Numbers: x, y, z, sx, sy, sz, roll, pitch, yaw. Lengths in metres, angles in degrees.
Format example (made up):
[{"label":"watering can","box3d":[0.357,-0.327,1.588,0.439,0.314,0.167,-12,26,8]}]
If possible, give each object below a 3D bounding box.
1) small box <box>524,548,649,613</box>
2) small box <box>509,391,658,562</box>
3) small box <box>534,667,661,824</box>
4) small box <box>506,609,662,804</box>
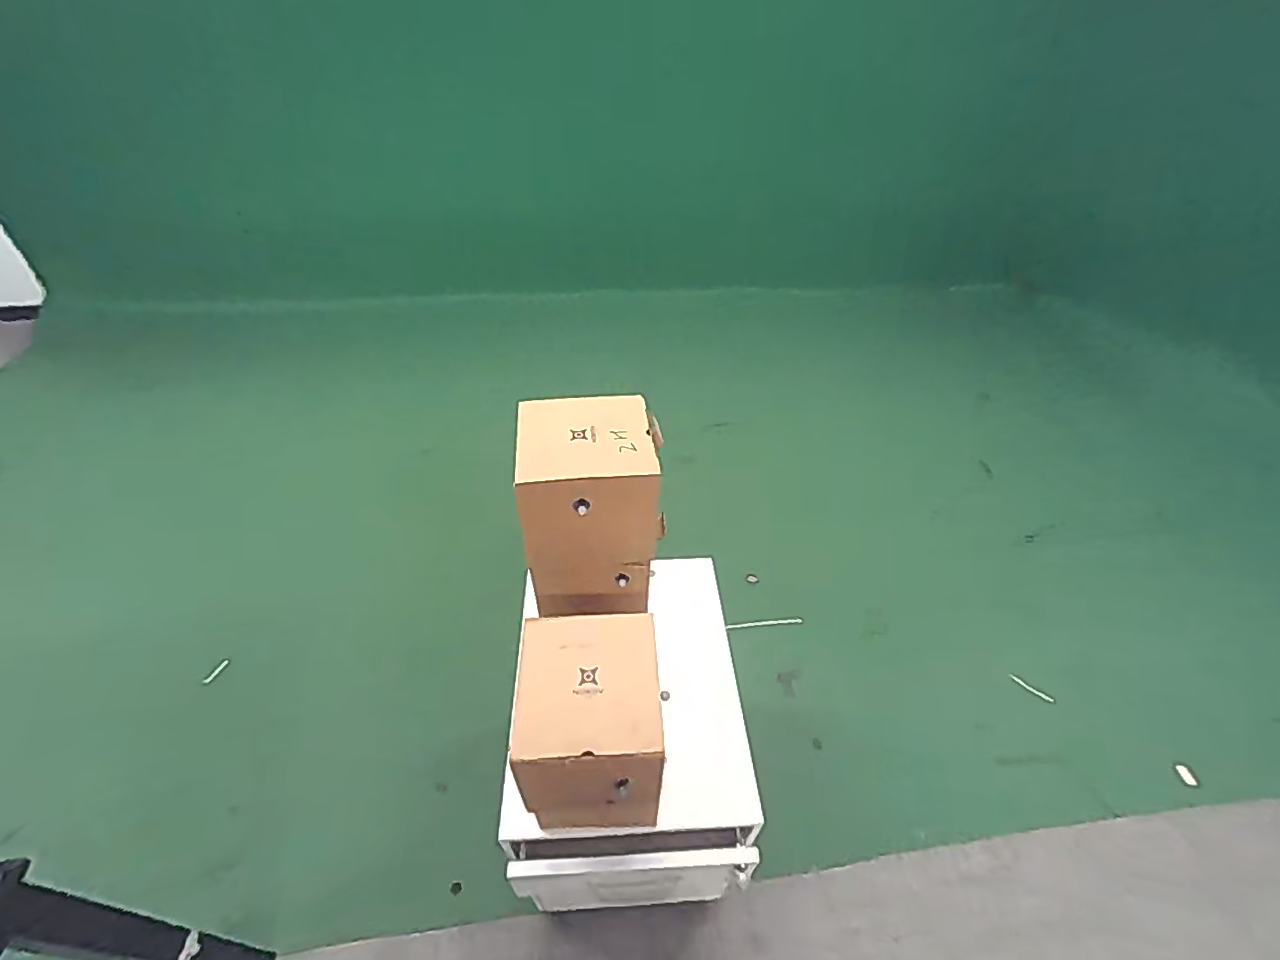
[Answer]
[{"label":"small box","box3d":[-0.076,0.112,0.854,0.179,0.176,0.168,1,43,-2]},{"label":"small box","box3d":[-0.076,-0.003,0.737,0.179,0.176,0.168,-4,44,-7]},{"label":"small box","box3d":[-0.062,0.389,0.795,0.179,0.176,0.168,1,42,-2]},{"label":"small box","box3d":[-0.064,0.283,0.671,0.168,0.176,0.179,-1,42,-5]}]
